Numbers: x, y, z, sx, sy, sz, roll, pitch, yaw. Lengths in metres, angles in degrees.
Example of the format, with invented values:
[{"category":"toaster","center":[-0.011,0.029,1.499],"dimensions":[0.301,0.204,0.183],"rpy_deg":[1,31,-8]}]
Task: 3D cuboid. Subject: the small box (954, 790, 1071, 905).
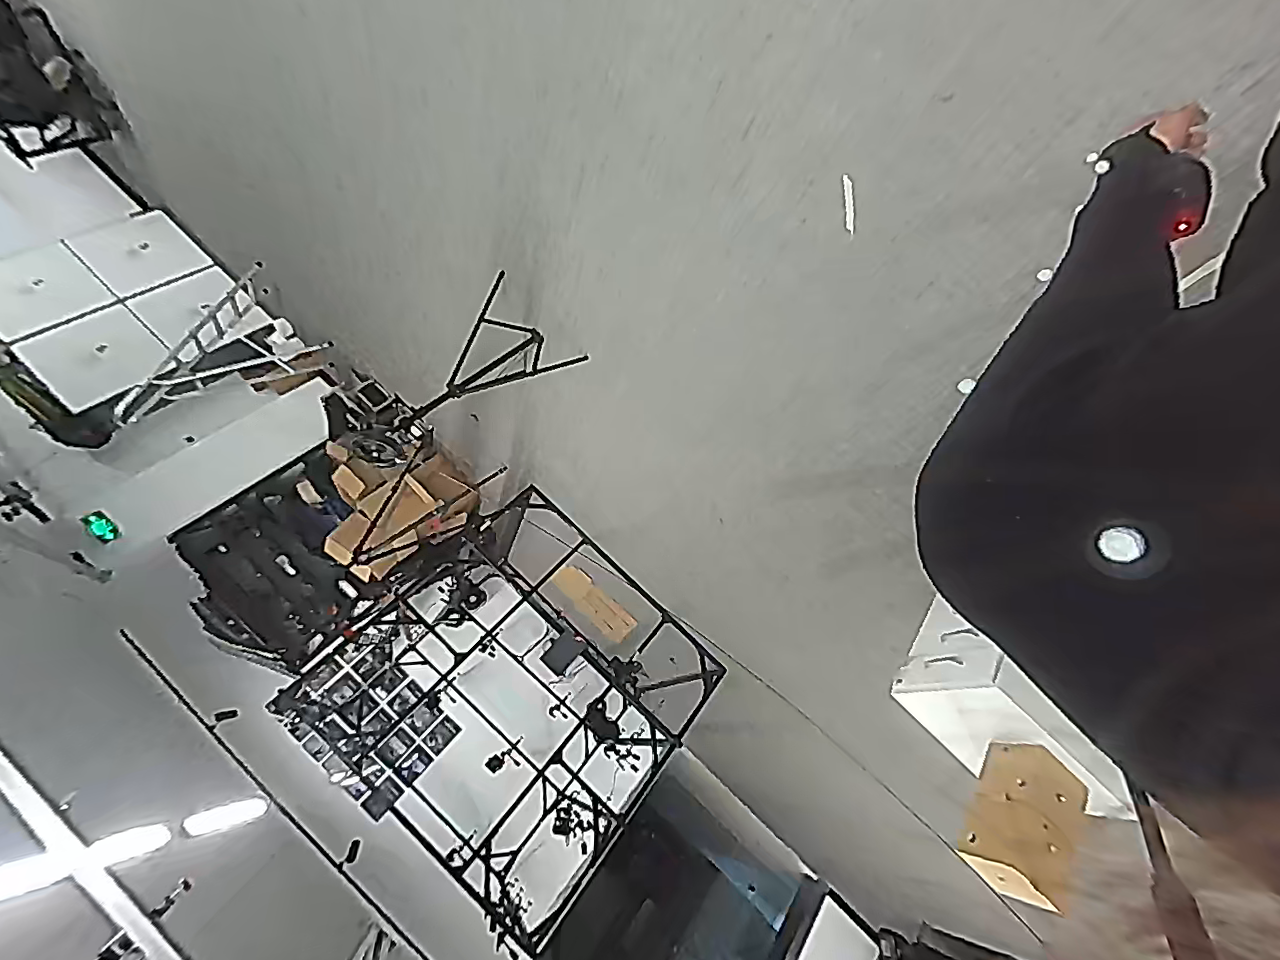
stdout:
[{"category":"small box","center":[0.980,0.952,1.421],"dimensions":[0.168,0.176,0.179],"rpy_deg":[44,150,0]}]
